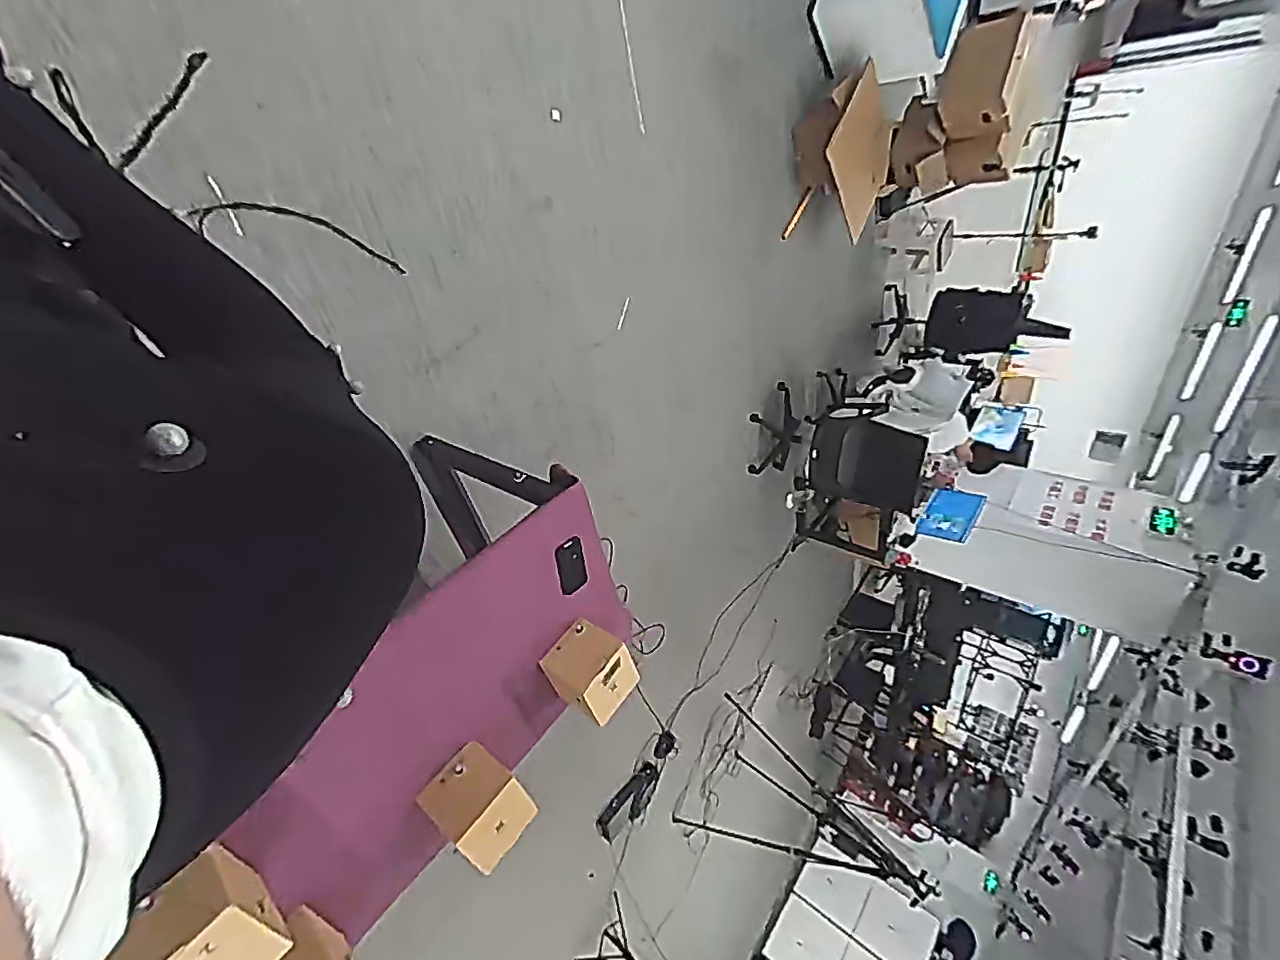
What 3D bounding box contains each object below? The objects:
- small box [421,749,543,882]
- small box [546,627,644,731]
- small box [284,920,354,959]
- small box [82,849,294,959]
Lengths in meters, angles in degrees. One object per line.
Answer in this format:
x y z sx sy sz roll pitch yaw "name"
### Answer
-0.357 0.751 1.226 0.168 0.176 0.179 -43 133 -34 "small box"
-0.120 0.512 1.422 0.168 0.176 0.179 -45 136 -30 "small box"
-0.615 0.962 0.986 0.168 0.176 0.179 -40 133 -36 "small box"
-0.669 0.704 0.808 0.168 0.176 0.179 -41 133 -36 "small box"
